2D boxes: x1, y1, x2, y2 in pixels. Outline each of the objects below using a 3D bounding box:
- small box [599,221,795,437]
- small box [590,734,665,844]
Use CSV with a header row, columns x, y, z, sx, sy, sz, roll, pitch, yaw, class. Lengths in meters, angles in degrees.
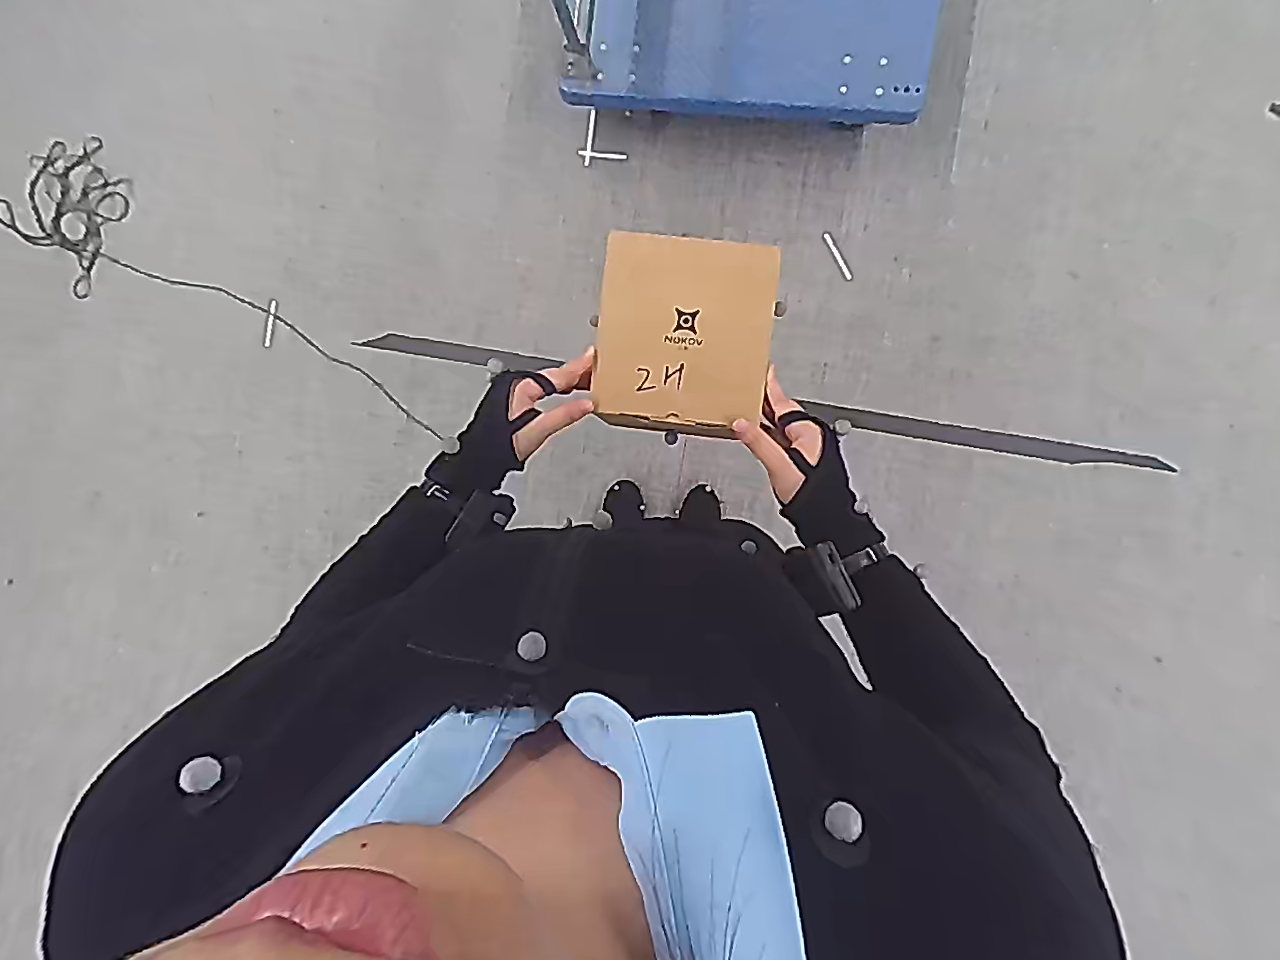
x,y,z,sx,sy,sz,roll,pitch,yaw,class
0.057,-0.147,0.582,0.168,0.176,0.179,7,91,4,small box
-0.027,0.808,1.429,0.168,0.176,0.179,8,91,5,small box
